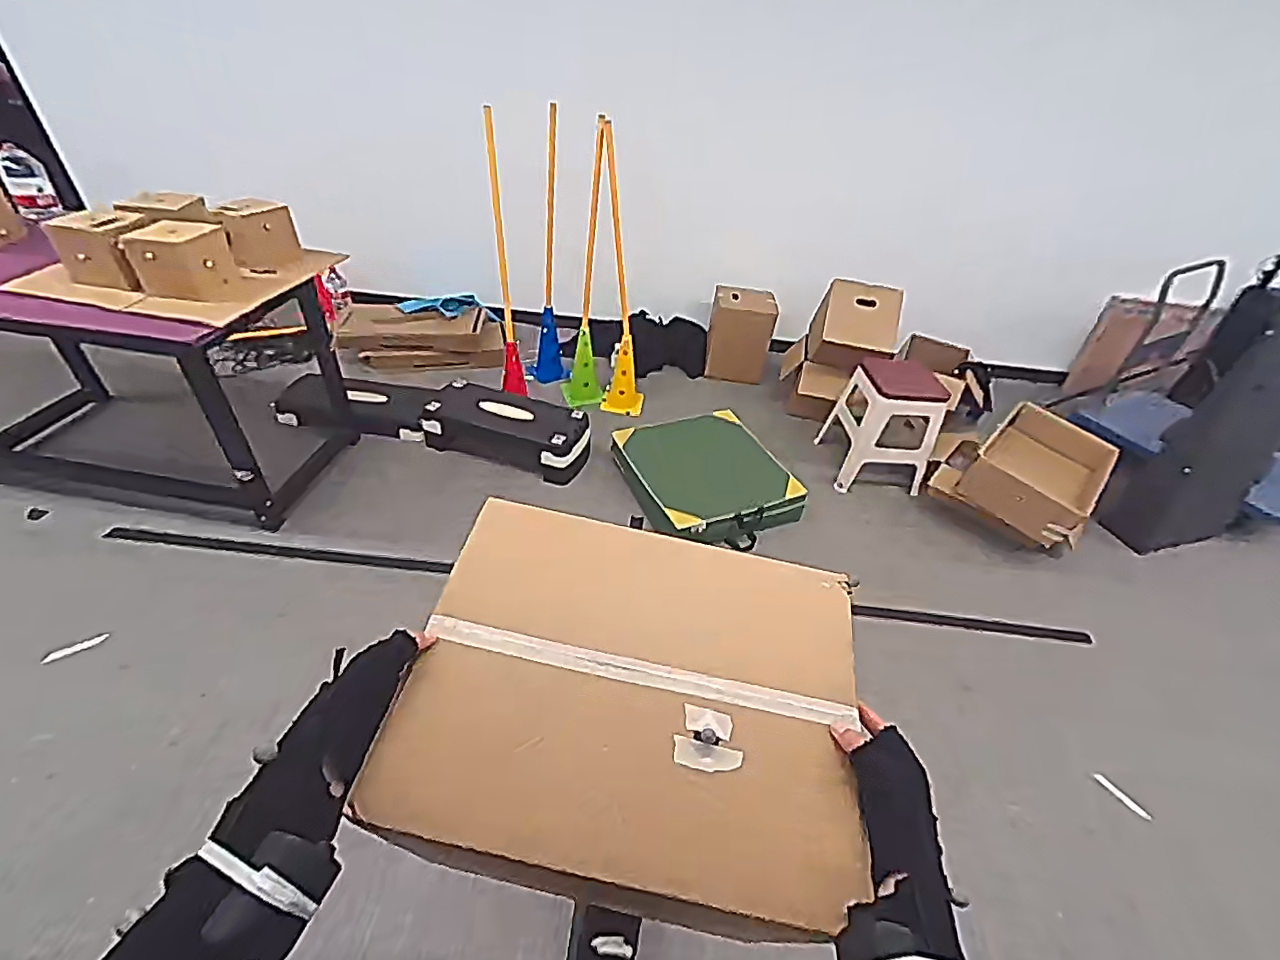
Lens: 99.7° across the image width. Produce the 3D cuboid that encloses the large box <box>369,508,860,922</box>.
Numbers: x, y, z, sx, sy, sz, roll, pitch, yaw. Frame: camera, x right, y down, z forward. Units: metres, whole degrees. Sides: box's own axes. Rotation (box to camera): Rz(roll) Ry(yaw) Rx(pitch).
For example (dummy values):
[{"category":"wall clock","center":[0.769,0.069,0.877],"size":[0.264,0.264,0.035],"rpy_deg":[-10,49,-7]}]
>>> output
[{"category":"large box","center":[-0.016,0.277,0.630],"size":[0.408,0.320,0.320],"rpy_deg":[13,51,2]}]
